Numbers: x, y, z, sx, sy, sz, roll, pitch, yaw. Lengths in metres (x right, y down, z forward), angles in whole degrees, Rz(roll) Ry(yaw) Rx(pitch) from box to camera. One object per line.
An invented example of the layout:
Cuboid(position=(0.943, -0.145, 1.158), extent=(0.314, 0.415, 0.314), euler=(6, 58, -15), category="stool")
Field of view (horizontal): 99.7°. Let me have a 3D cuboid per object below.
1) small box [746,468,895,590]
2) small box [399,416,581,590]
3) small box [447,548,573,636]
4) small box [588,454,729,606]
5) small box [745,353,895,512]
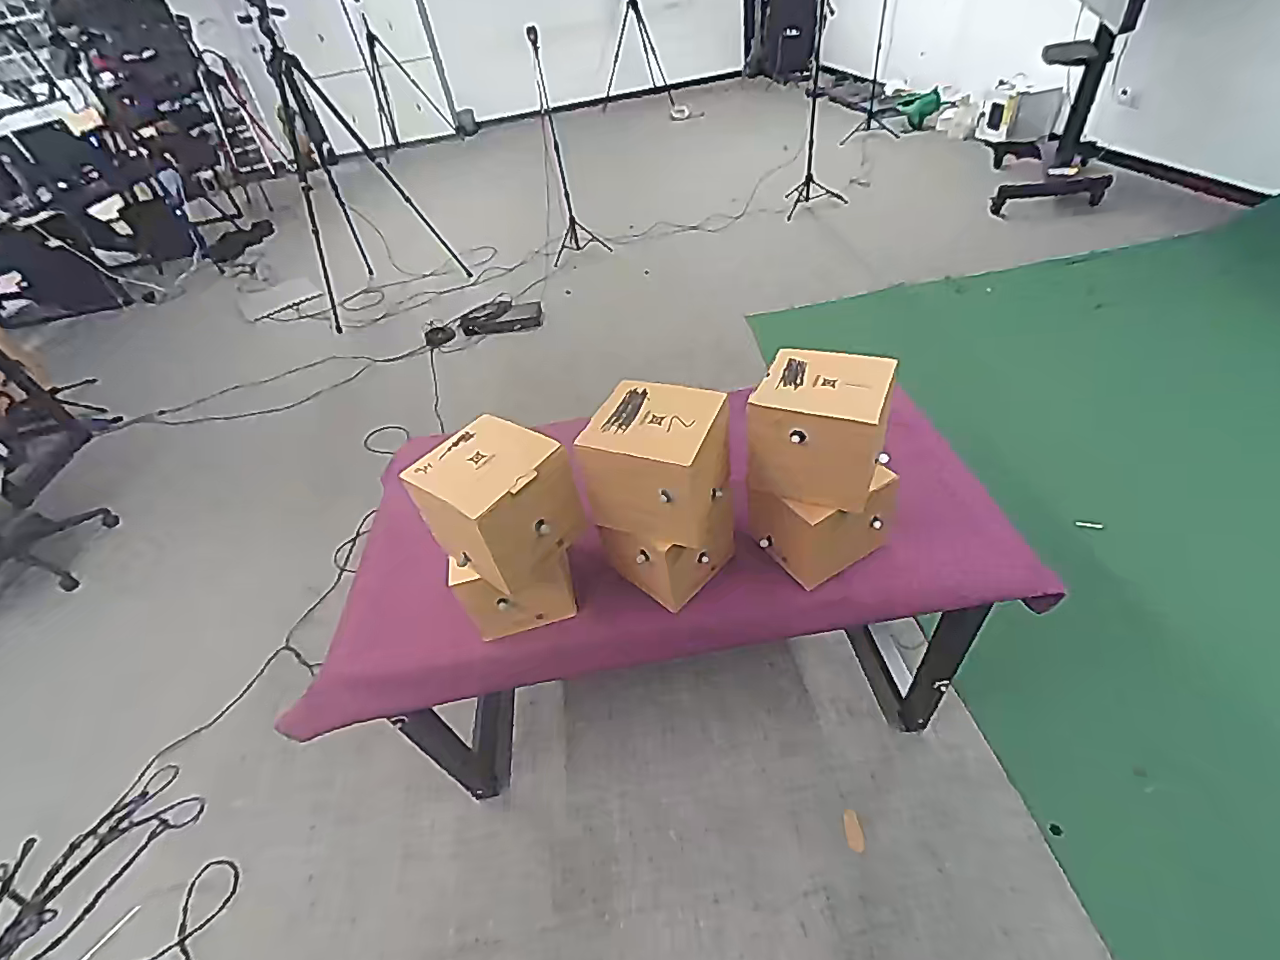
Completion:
Cuboid(position=(0.298, 0.053, 0.928), extent=(0.179, 0.176, 0.168), euler=(-26, 43, -16), category="small box")
Cuboid(position=(-0.211, 0.036, 0.805), extent=(0.179, 0.176, 0.168), euler=(23, 51, 31), category="small box")
Cuboid(position=(-0.219, 0.146, 0.931), extent=(0.168, 0.176, 0.179), euler=(-15, 42, -5), category="small box")
Cuboid(position=(0.040, 0.091, 0.936), extent=(0.168, 0.176, 0.179), euler=(-37, 48, -27), category="small box")
Cuboid(position=(0.272, -0.074, 0.828), extent=(0.179, 0.176, 0.168), euler=(14, 46, 26), category="small box")
